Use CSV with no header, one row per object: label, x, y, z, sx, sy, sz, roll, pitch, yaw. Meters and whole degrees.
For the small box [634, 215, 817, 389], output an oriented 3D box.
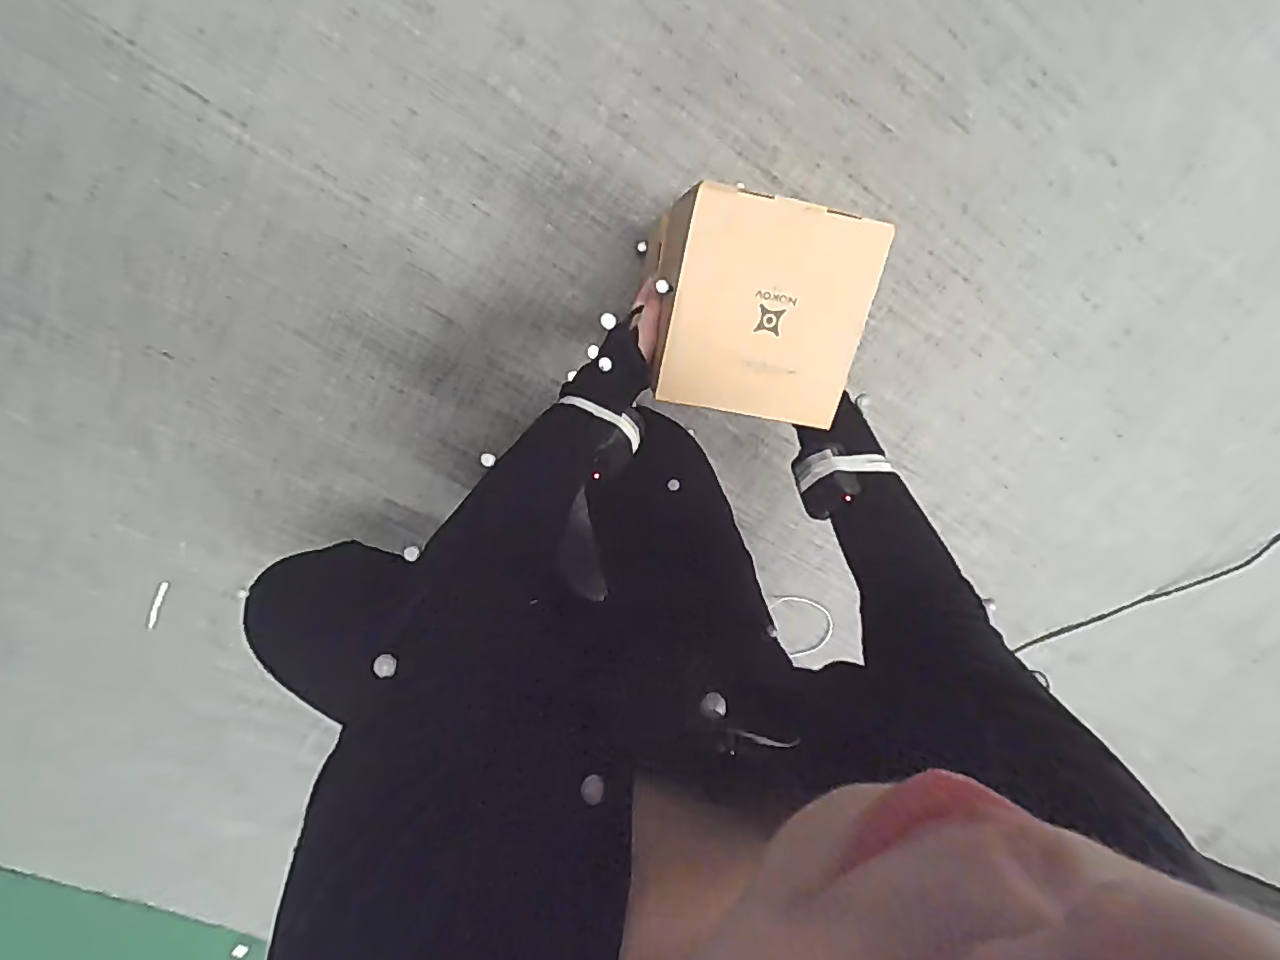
small box,0.091,-0.220,0.679,0.179,0.176,0.168,6,110,-7
